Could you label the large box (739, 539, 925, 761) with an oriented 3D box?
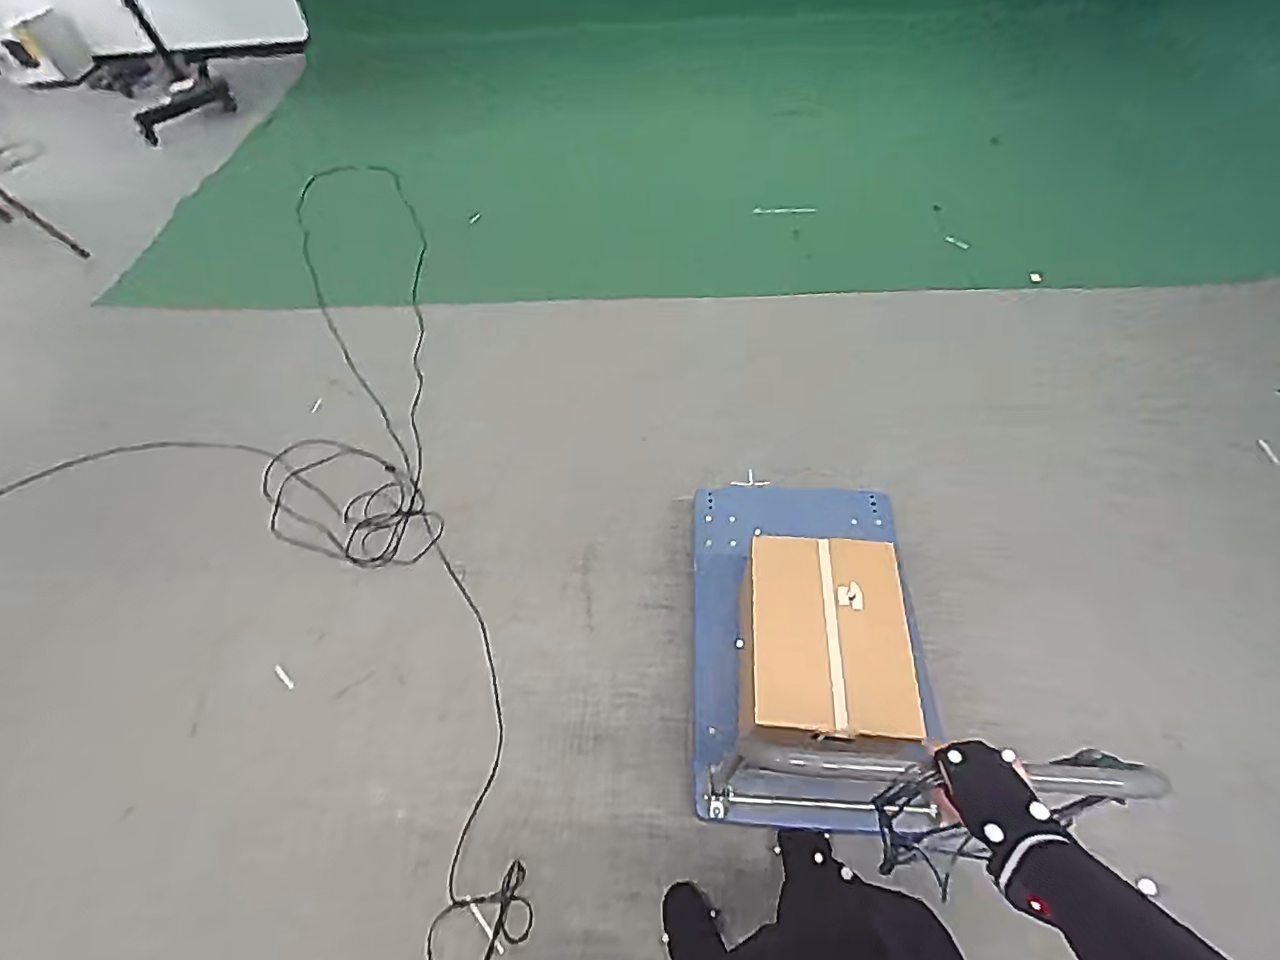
[{"bbox_3d":[0.393,0.388,1.224,0.320,0.320,0.408,3,56,5],"label":"large box"}]
